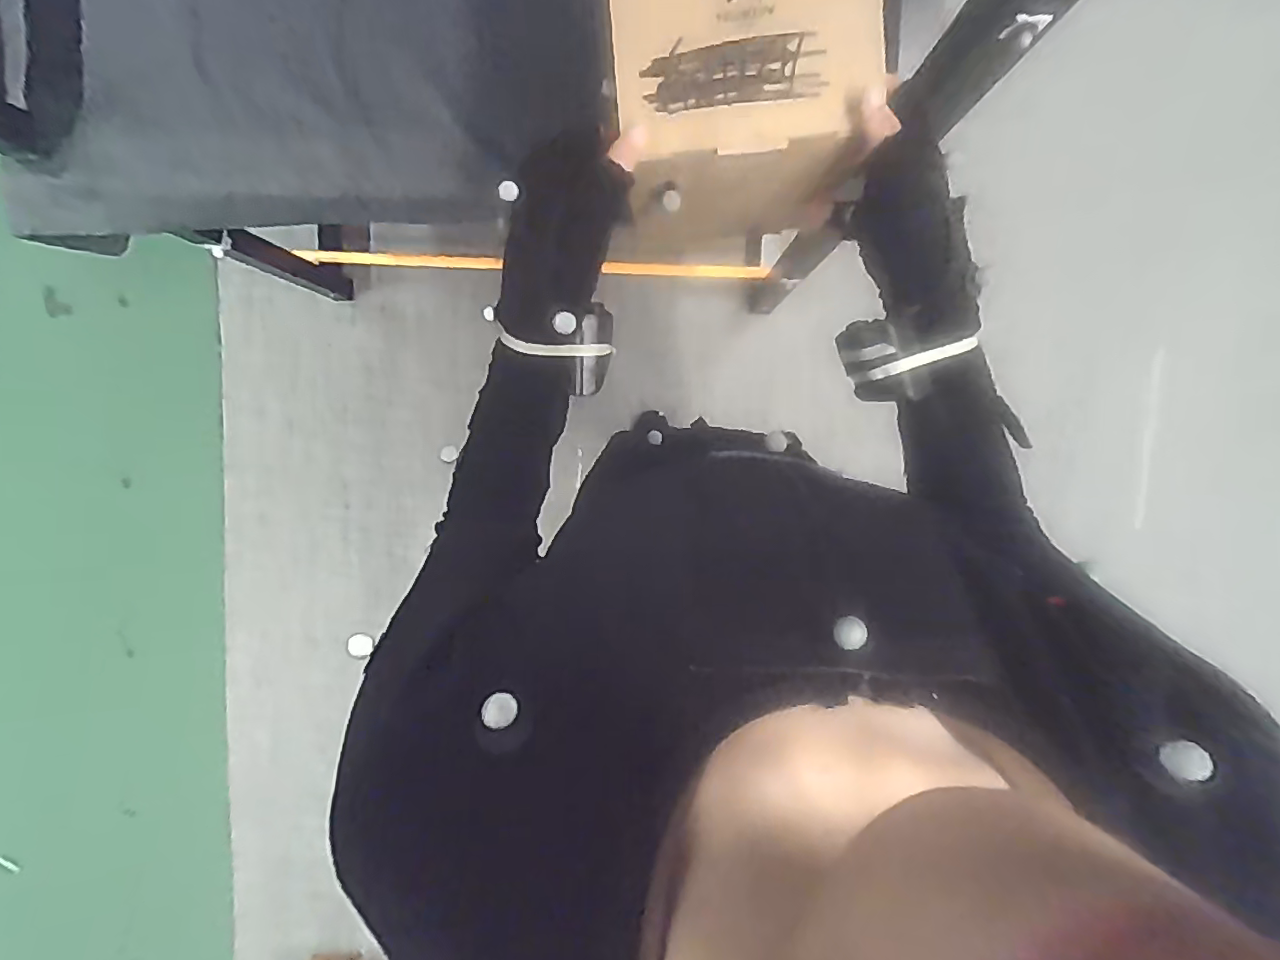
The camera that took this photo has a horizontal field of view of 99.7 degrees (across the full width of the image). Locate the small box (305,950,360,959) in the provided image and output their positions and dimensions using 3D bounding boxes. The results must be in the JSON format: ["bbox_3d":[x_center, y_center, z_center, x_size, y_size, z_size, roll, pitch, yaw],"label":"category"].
[{"bbox_3d":[-0.927,1.516,1.565,0.168,0.176,0.179,2,95,2],"label":"small box"}]
